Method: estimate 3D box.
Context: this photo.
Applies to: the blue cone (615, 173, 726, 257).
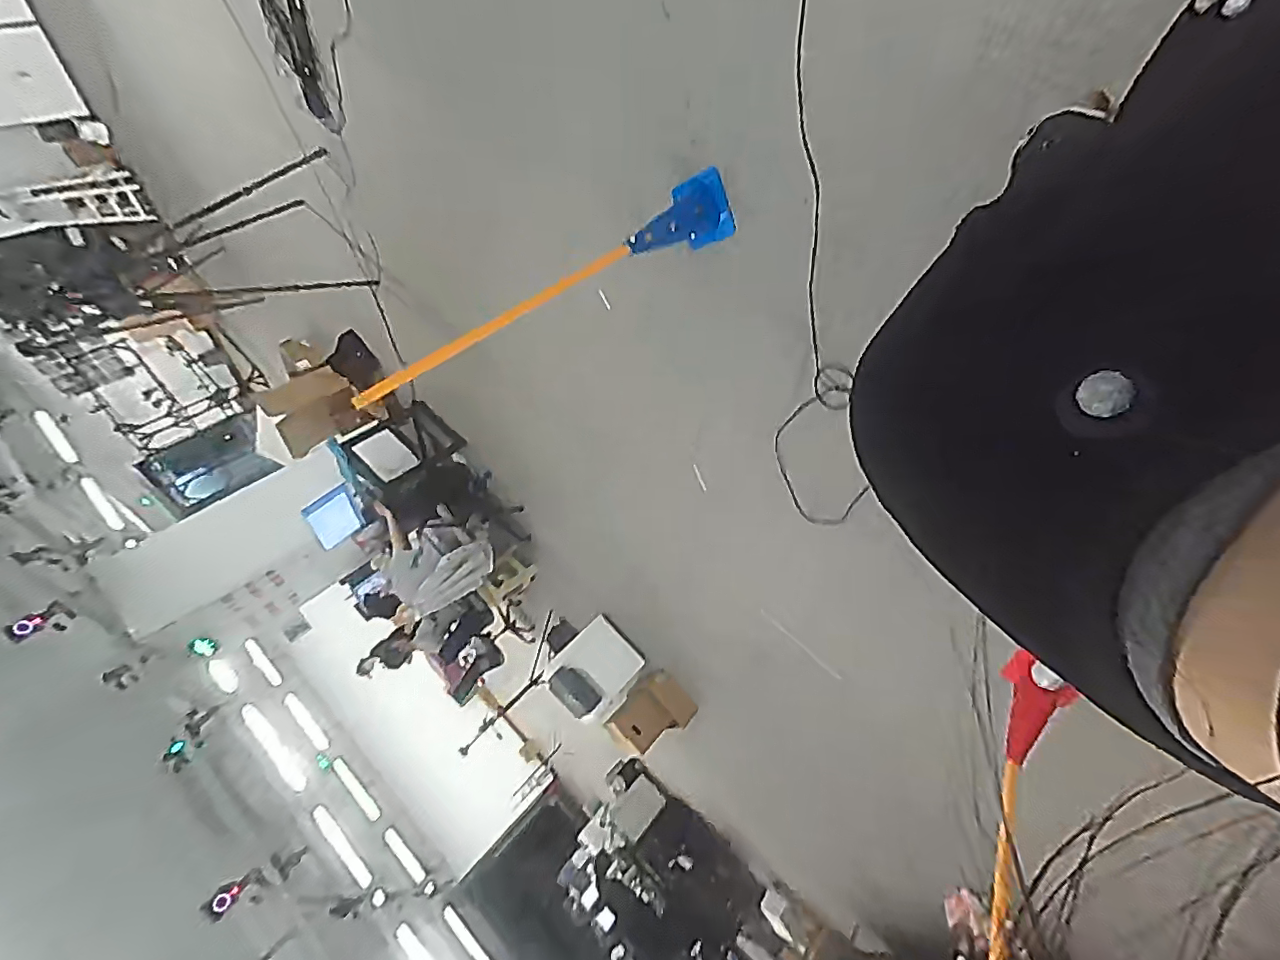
[{"bbox_3d":[0.070,-0.744,1.617,0.193,0.380,0.192,5,128,52],"label":"blue cone"}]
